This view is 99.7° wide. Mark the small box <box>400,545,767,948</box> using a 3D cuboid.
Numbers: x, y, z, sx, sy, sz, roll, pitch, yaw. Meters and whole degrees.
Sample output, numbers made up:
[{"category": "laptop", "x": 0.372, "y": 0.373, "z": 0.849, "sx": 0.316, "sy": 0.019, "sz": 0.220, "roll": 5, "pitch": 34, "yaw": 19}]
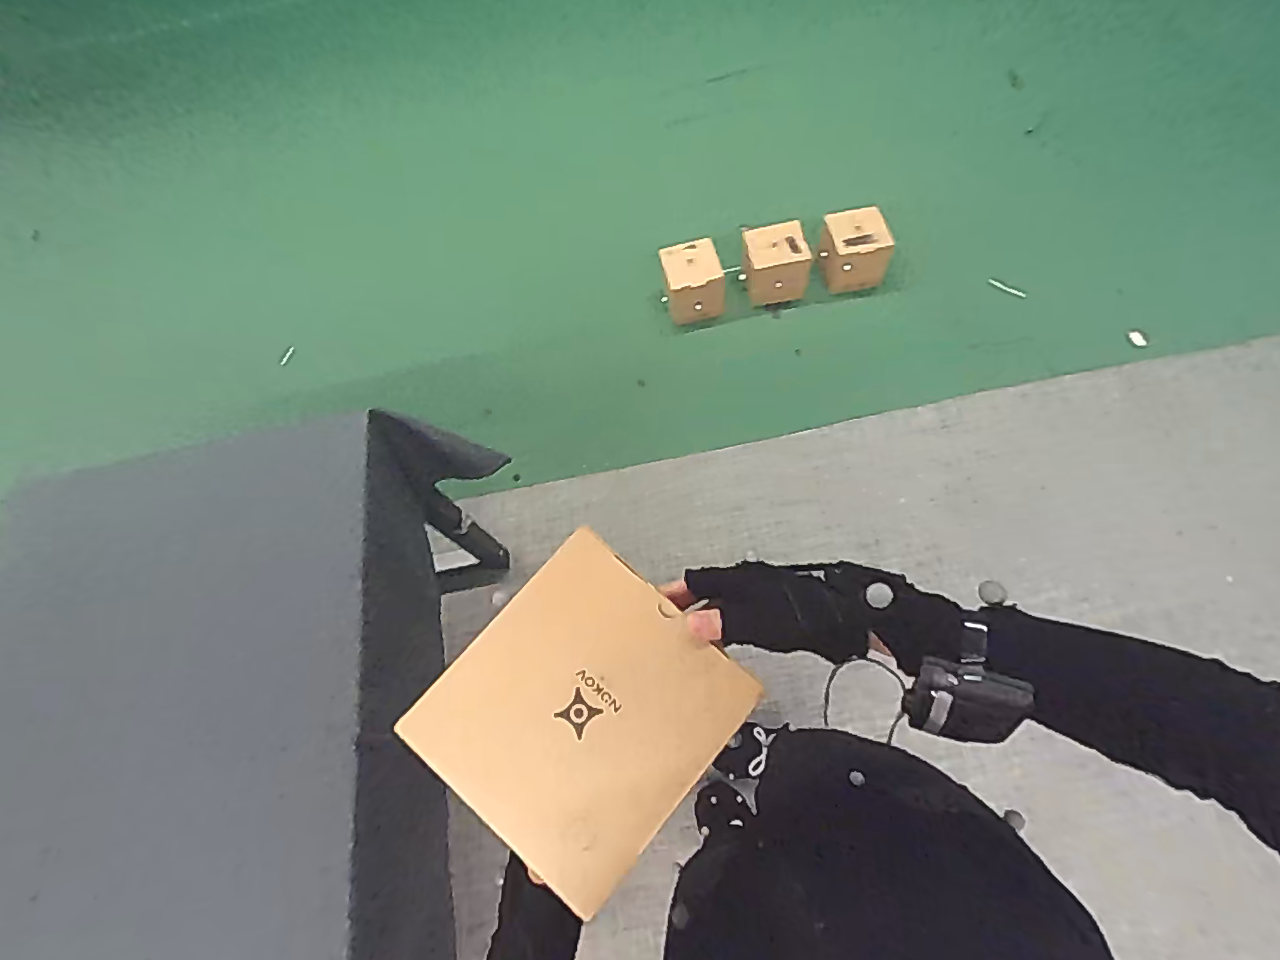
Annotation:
[{"category": "small box", "x": -0.035, "y": 0.176, "z": 0.415, "sx": 0.168, "sy": 0.176, "sz": 0.179, "roll": 42, "pitch": 78, "yaw": 8}]

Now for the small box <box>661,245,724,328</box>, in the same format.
[{"category": "small box", "x": 0.169, "y": -0.608, "z": 1.729, "sx": 0.168, "sy": 0.176, "sz": 0.179, "roll": -13, "pitch": 66, "yaw": 1}]
